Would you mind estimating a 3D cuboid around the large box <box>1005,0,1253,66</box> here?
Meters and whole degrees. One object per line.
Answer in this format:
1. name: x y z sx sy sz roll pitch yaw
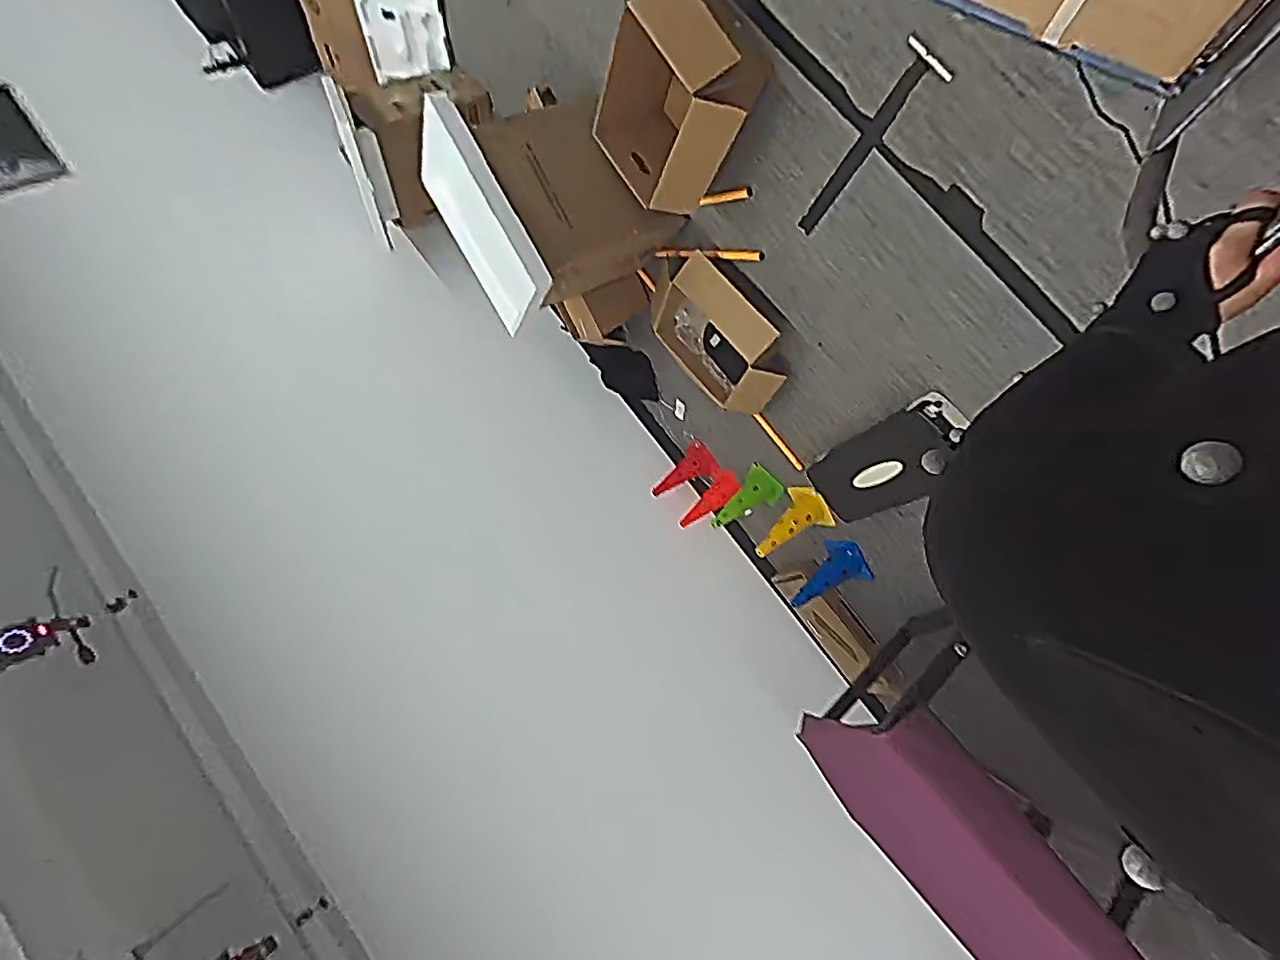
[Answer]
1. large box: 0.649 -0.771 0.579 0.320 0.320 0.408 37 153 14
